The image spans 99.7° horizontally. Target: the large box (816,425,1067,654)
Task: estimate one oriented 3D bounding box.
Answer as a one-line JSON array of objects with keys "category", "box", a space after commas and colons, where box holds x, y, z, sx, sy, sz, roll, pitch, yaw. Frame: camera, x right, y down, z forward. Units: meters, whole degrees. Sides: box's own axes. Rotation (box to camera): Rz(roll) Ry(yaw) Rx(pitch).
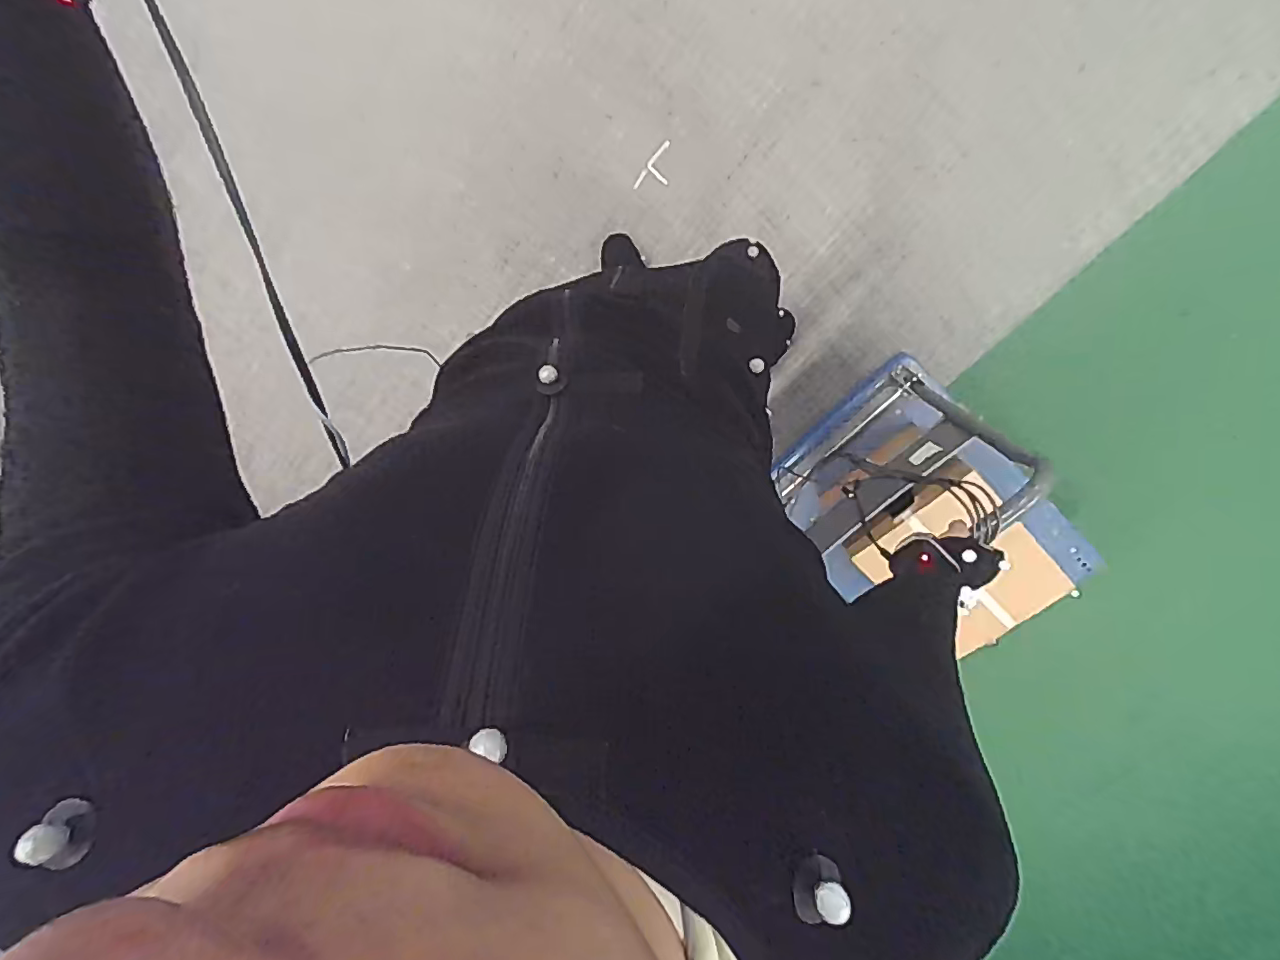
[{"category": "large box", "box": [0.711, 0.137, 1.337, 0.408, 0.320, 0.320, 42, 111, -15]}]
